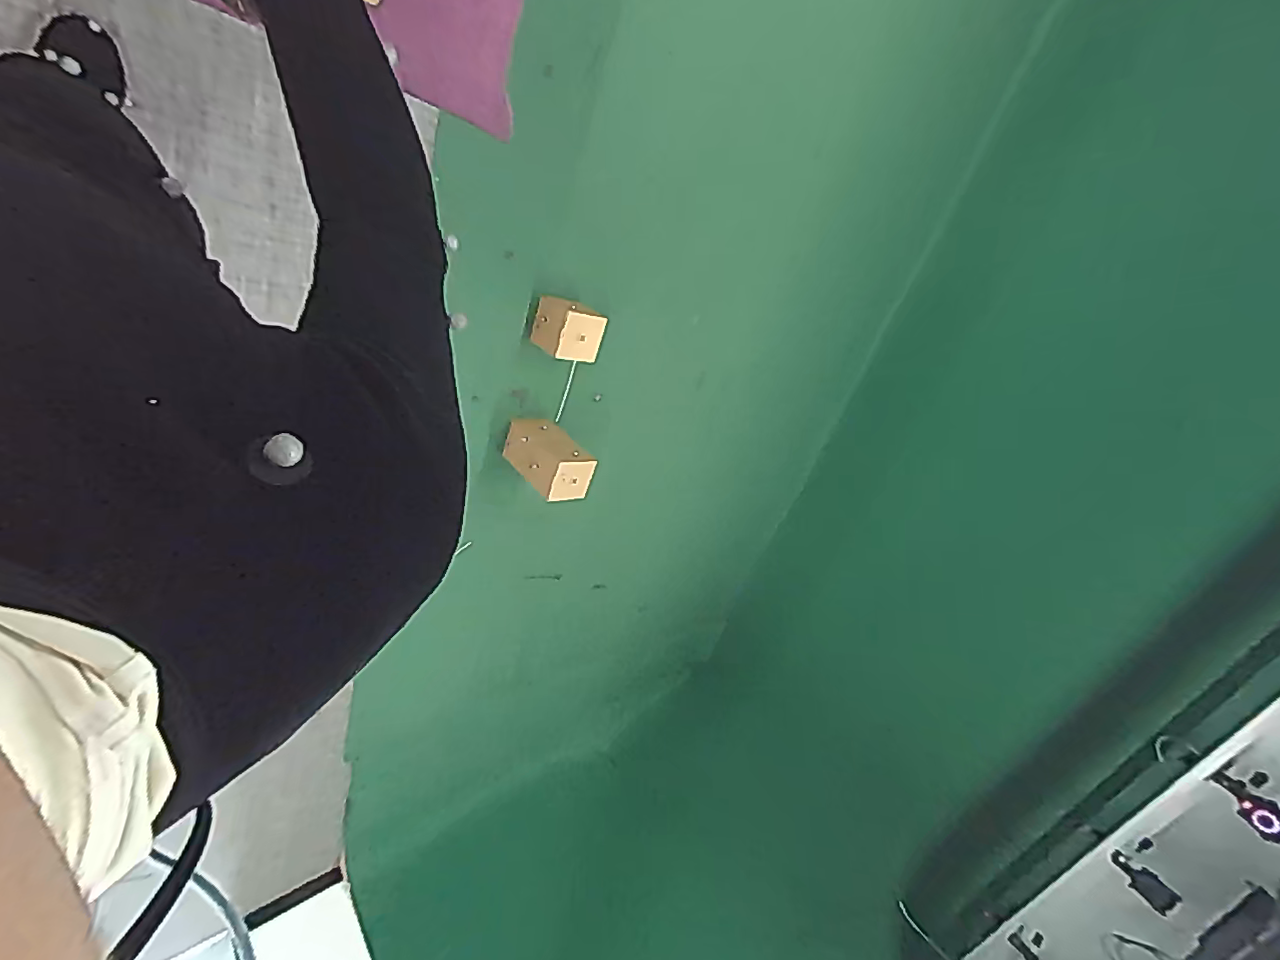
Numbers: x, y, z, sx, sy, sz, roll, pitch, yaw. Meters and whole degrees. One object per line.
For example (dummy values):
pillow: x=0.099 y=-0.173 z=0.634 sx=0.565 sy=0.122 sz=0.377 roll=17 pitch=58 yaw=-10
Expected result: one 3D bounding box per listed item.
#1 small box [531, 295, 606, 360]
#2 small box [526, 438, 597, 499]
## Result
small box: x=-0.255 y=-0.537 z=1.904 sx=0.179 sy=0.176 sz=0.168 roll=-6 pitch=126 yaw=-44
small box: x=-0.294 y=-0.049 z=2.014 sx=0.179 sy=0.176 sz=0.168 roll=-5 pitch=125 yaw=-46
